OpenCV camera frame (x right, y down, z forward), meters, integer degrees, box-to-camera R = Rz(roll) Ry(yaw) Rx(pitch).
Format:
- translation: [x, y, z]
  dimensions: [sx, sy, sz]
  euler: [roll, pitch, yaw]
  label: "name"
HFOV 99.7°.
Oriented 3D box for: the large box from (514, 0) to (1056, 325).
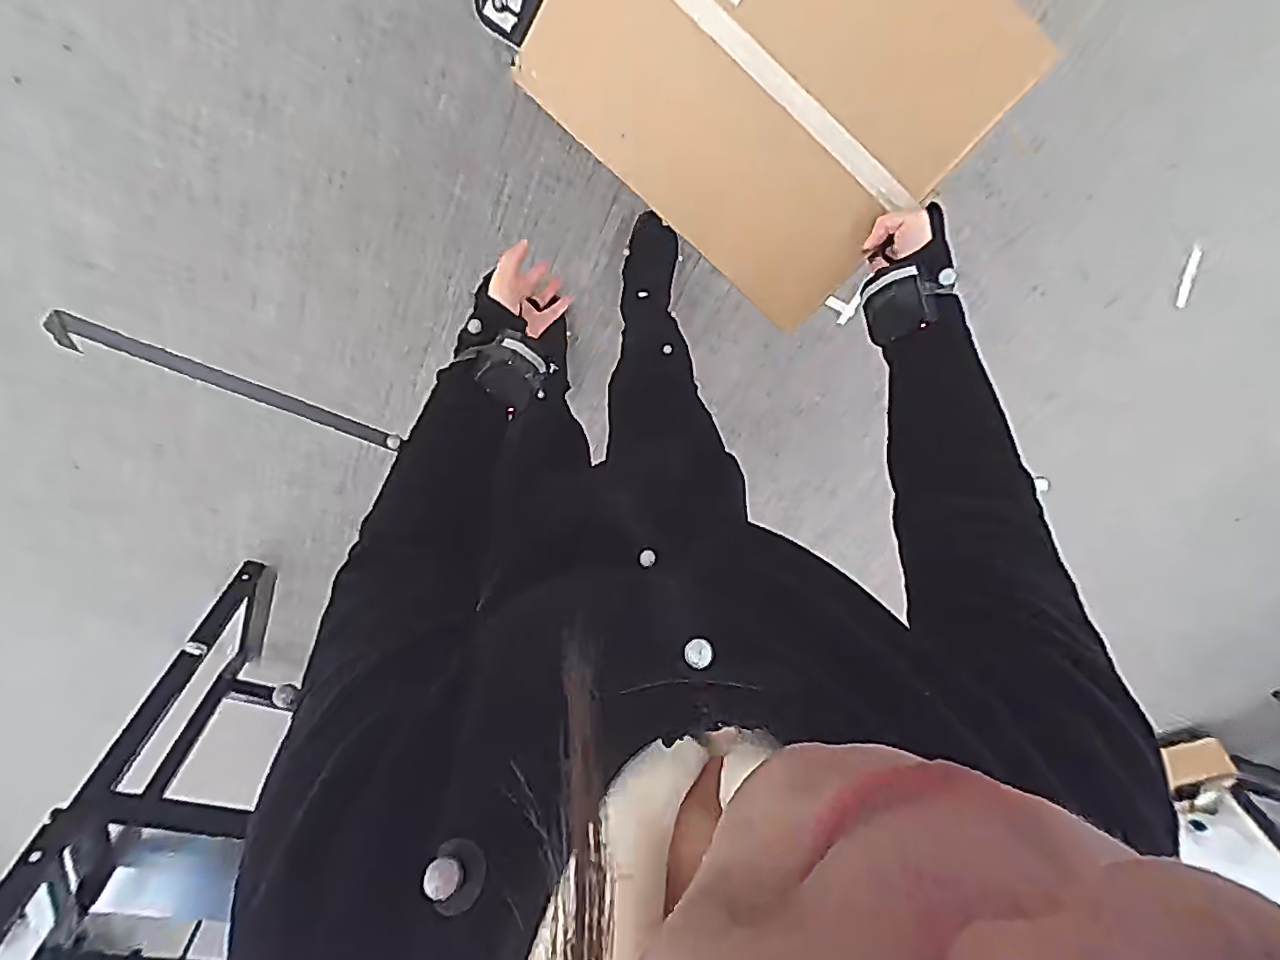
- translation: [0.146, -0.450, 0.633]
  dimensions: [0.408, 0.320, 0.320]
  euler: [40, 118, -6]
  label: "large box"
